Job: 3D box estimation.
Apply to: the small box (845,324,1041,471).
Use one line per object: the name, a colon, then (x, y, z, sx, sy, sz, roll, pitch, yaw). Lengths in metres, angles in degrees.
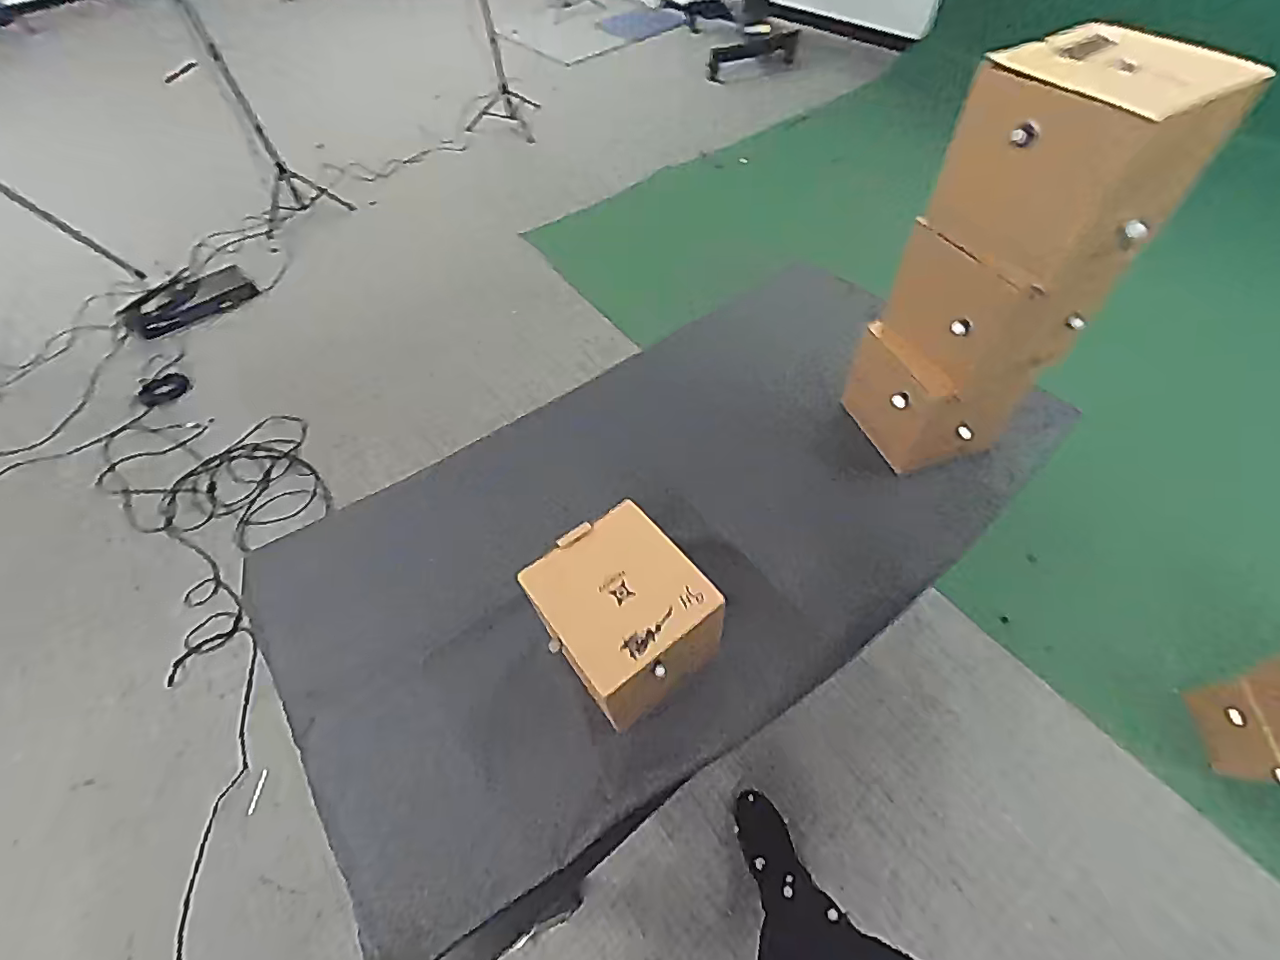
small box: (0.442, -0.134, 0.824, 0.168, 0.176, 0.179, -16, 53, -7)

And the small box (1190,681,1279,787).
small box: (1.366, 0.555, 1.166, 0.168, 0.176, 0.179, 5, 55, 8)

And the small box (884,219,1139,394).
small box: (0.451, -0.231, 0.693, 0.168, 0.176, 0.179, -20, 53, -10)

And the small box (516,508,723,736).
small box: (-0.021, 0.174, 0.652, 0.168, 0.176, 0.179, -34, 58, -18)

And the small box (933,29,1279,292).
small box: (0.448, -0.327, 0.560, 0.168, 0.176, 0.179, -26, 56, -13)
